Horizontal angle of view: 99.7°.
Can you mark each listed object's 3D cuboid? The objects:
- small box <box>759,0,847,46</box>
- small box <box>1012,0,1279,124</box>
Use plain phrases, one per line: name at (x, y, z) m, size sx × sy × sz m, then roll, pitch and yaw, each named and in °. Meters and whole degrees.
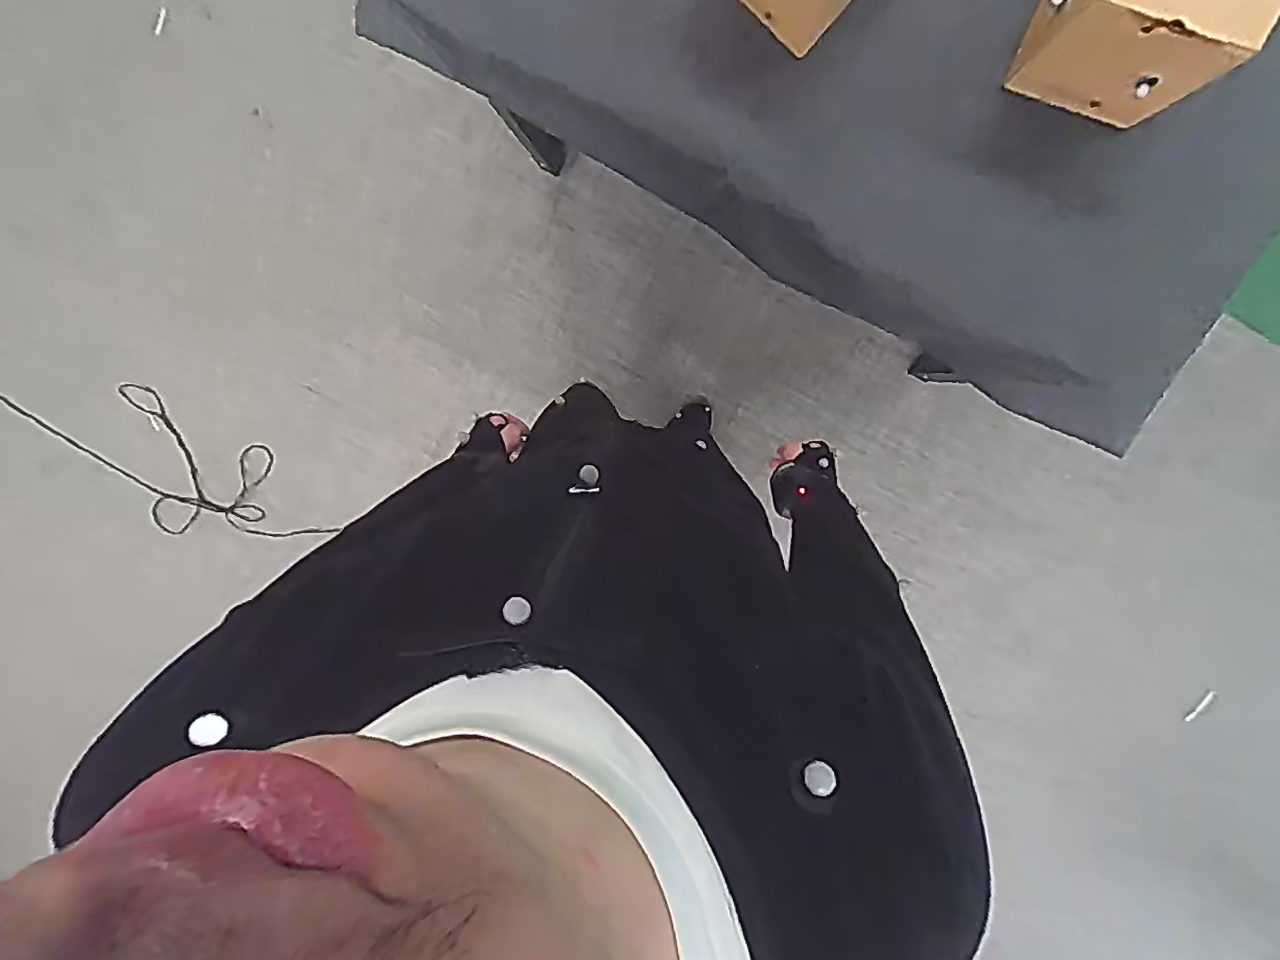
small box at (0.200, -0.647, 0.595) m, size 0.168 × 0.176 × 0.179 m, roll 43°, pitch 102°, yaw -5°
small box at (0.554, -0.532, 0.587) m, size 0.168 × 0.176 × 0.179 m, roll 20°, pitch 102°, yaw 0°
